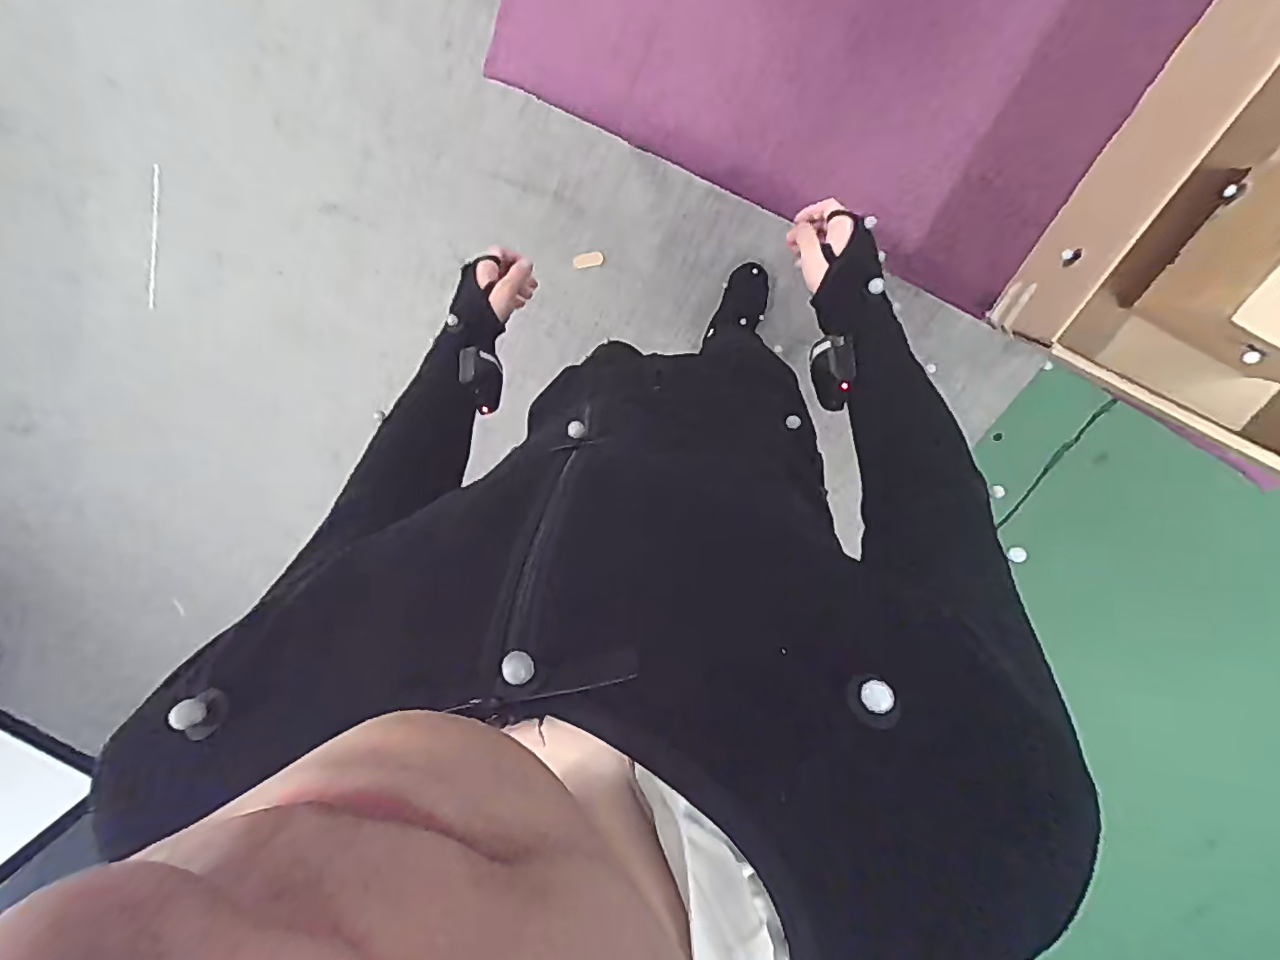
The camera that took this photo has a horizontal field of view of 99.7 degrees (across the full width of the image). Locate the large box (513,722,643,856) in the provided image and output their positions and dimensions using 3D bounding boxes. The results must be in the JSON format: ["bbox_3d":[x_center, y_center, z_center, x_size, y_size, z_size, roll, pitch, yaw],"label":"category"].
[{"bbox_3d":[-0.219,1.159,2.055,0.408,0.320,0.320,-2,111,11],"label":"large box"}]
